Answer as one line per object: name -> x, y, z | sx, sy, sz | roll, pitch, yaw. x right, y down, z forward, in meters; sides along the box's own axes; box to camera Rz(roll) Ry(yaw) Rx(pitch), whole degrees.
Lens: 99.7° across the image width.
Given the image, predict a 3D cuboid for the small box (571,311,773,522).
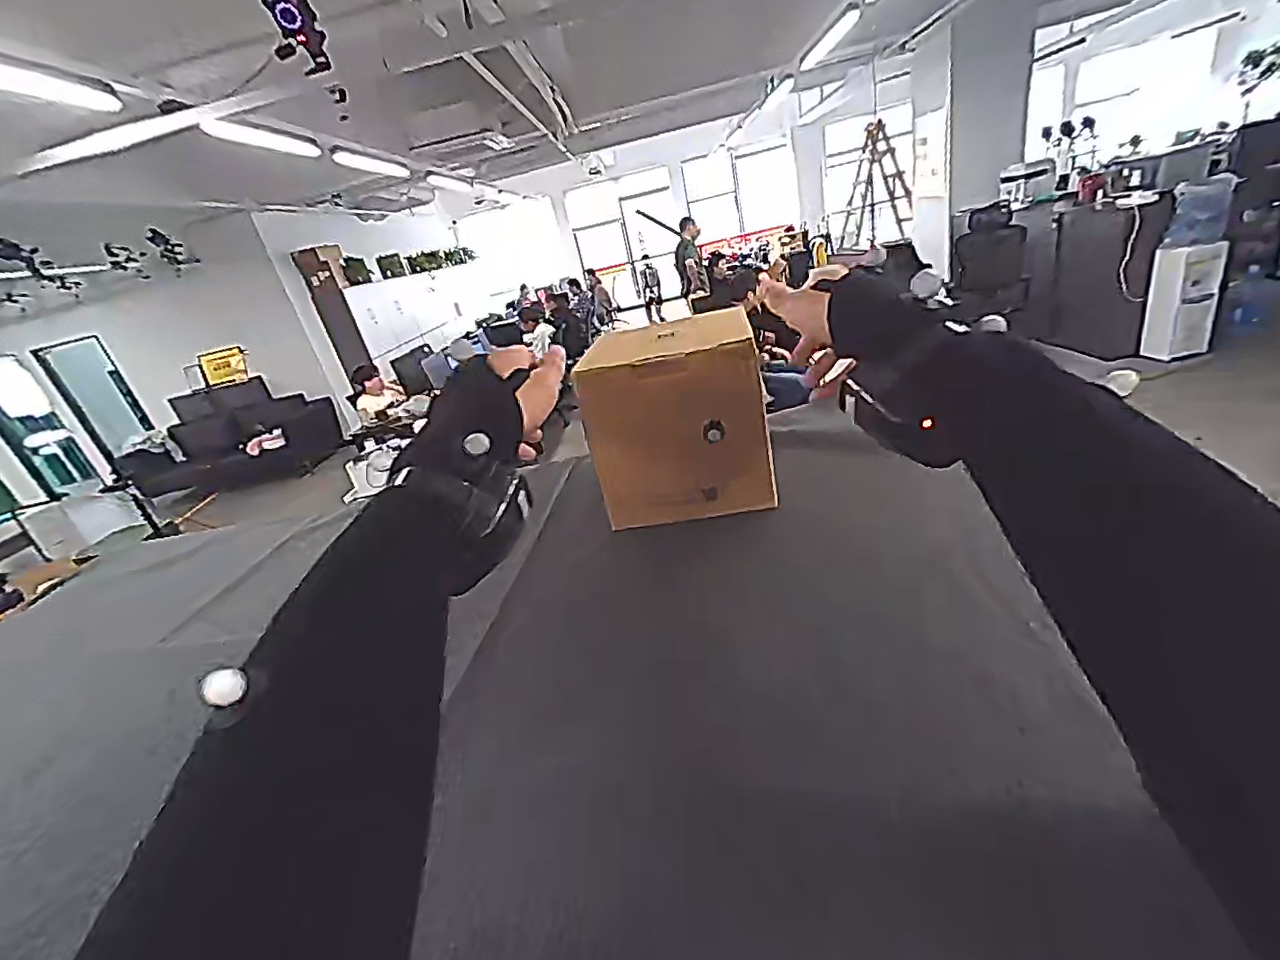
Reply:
small box -> 0.042, -0.065, 0.569 | 0.168, 0.176, 0.179 | -8, 25, 10
